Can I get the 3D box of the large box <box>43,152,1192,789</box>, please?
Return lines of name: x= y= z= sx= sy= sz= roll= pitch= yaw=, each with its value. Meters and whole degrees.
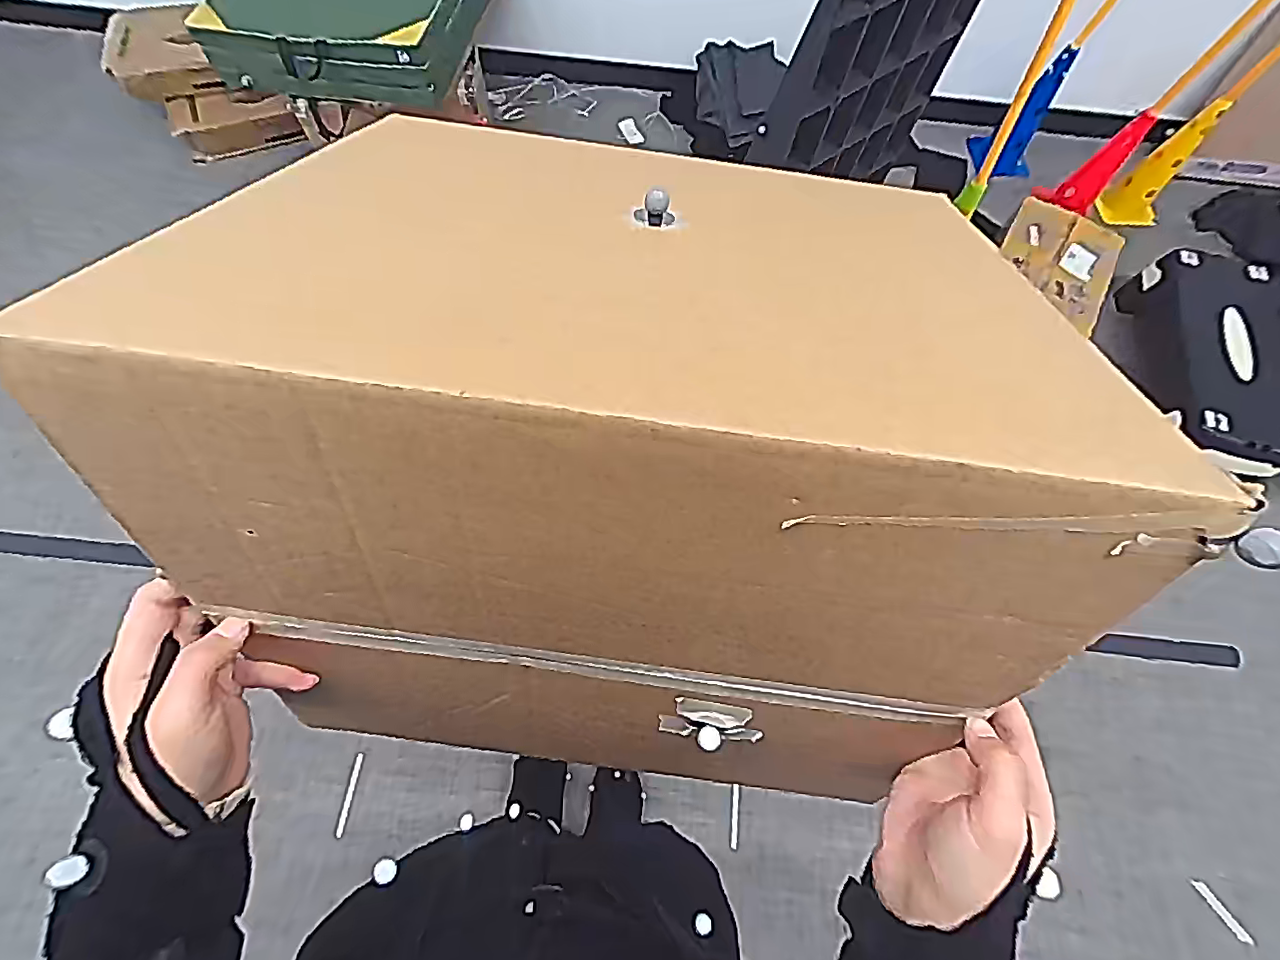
large box: x=-0.011 y=-0.012 z=0.392 sx=0.408 sy=0.320 sz=0.320 roll=7 pitch=45 yaw=0
